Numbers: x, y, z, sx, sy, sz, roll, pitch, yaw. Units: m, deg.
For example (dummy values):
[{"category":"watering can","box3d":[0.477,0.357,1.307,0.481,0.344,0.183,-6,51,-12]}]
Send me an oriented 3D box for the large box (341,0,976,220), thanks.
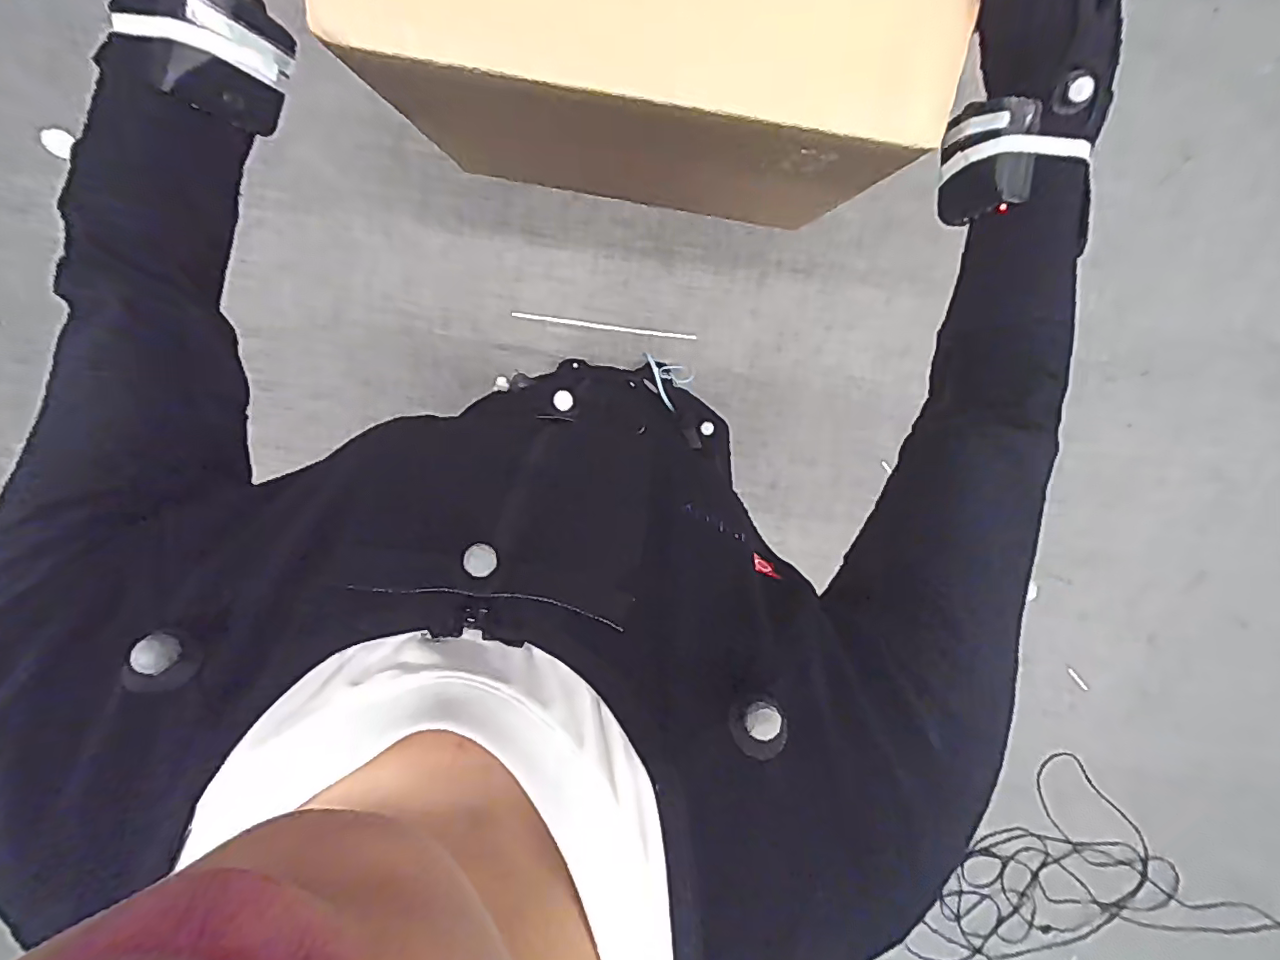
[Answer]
[{"category":"large box","box3d":[0.022,-0.439,0.454,0.408,0.320,0.320,7,106,-4]}]
